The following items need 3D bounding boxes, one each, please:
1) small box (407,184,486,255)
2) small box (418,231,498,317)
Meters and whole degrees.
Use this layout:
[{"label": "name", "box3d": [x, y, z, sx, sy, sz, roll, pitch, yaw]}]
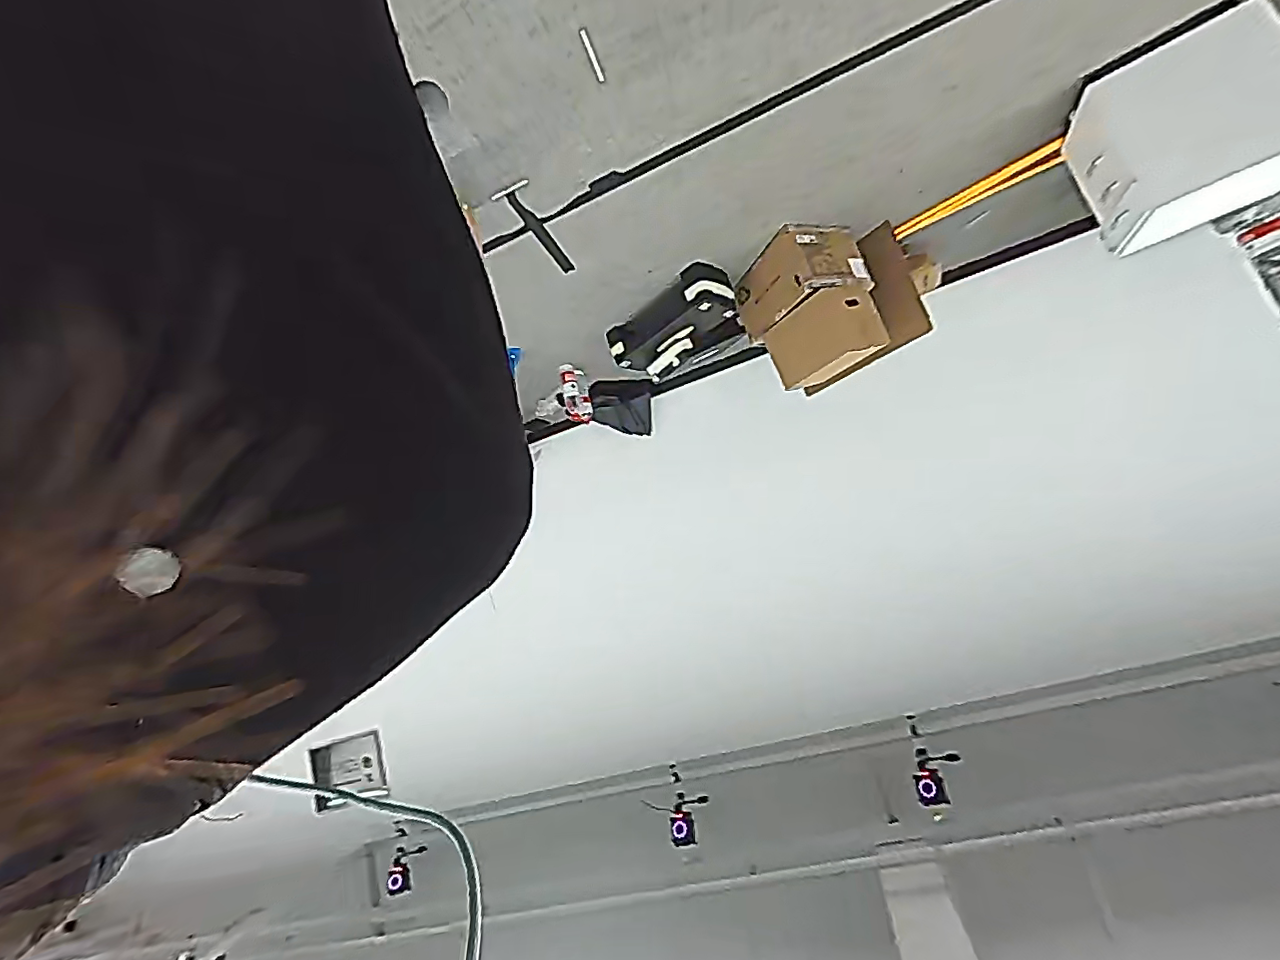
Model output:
[{"label": "small box", "box3d": [-0.632, -0.811, 1.756, 0.179, 0.176, 0.168, -20, 167, 16]}, {"label": "small box", "box3d": [-0.582, -0.657, 1.732, 0.168, 0.176, 0.179, -18, 167, 12]}]
